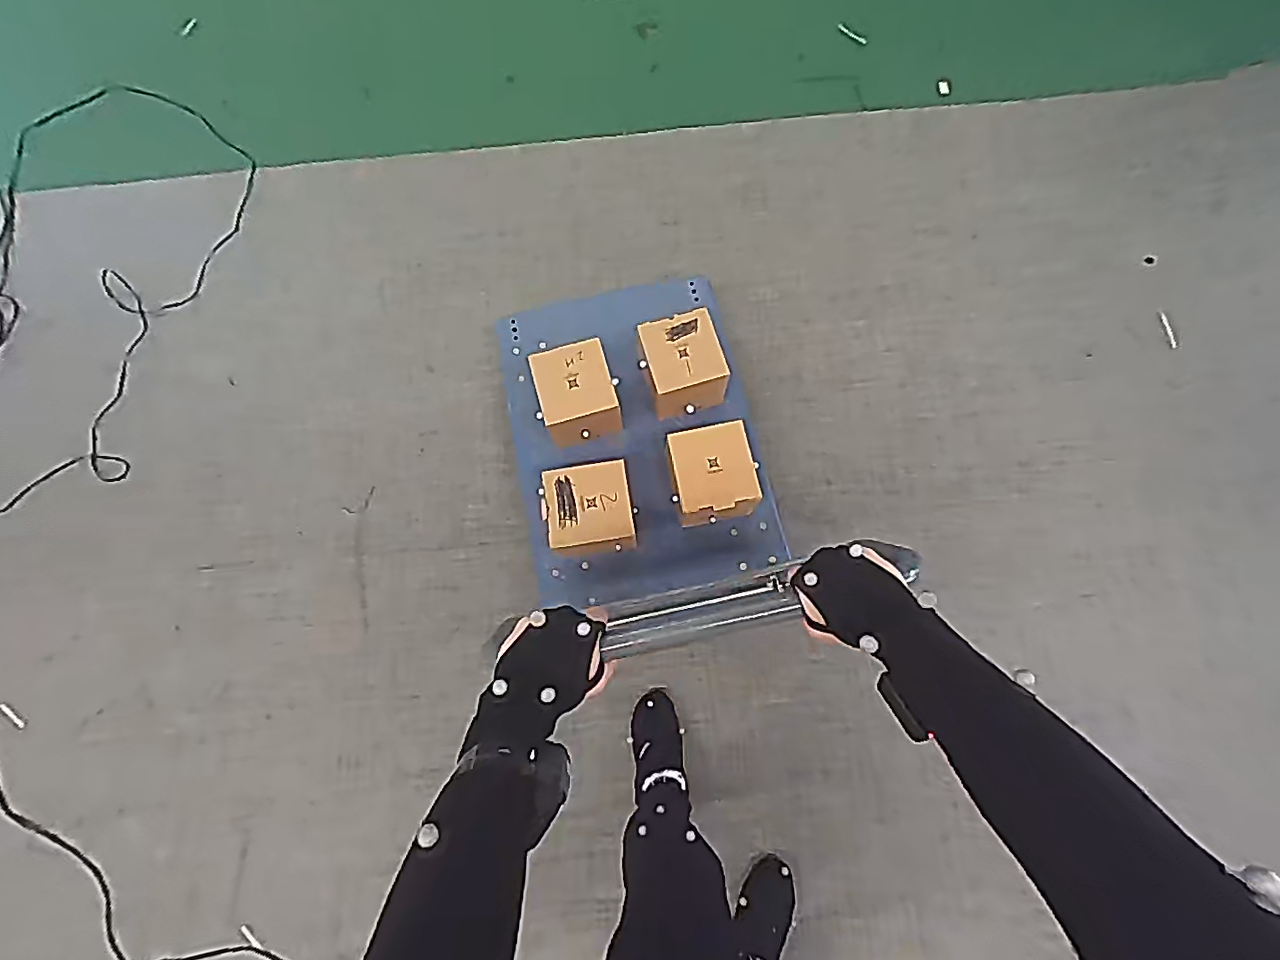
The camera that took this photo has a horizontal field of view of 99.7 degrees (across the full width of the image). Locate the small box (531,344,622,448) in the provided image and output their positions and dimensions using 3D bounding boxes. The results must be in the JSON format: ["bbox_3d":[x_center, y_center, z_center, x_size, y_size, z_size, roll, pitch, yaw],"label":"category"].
[{"bbox_3d":[-0.143,-0.187,1.278,0.168,0.176,0.179,-16,75,-3],"label":"small box"}]

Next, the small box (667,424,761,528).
[{"bbox_3d":[0.157,-0.004,1.219,0.168,0.176,0.179,-12,75,-2],"label":"small box"}]

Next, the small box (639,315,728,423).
[{"bbox_3d":[0.098,-0.258,1.289,0.168,0.176,0.179,-16,76,-1],"label":"small box"}]
